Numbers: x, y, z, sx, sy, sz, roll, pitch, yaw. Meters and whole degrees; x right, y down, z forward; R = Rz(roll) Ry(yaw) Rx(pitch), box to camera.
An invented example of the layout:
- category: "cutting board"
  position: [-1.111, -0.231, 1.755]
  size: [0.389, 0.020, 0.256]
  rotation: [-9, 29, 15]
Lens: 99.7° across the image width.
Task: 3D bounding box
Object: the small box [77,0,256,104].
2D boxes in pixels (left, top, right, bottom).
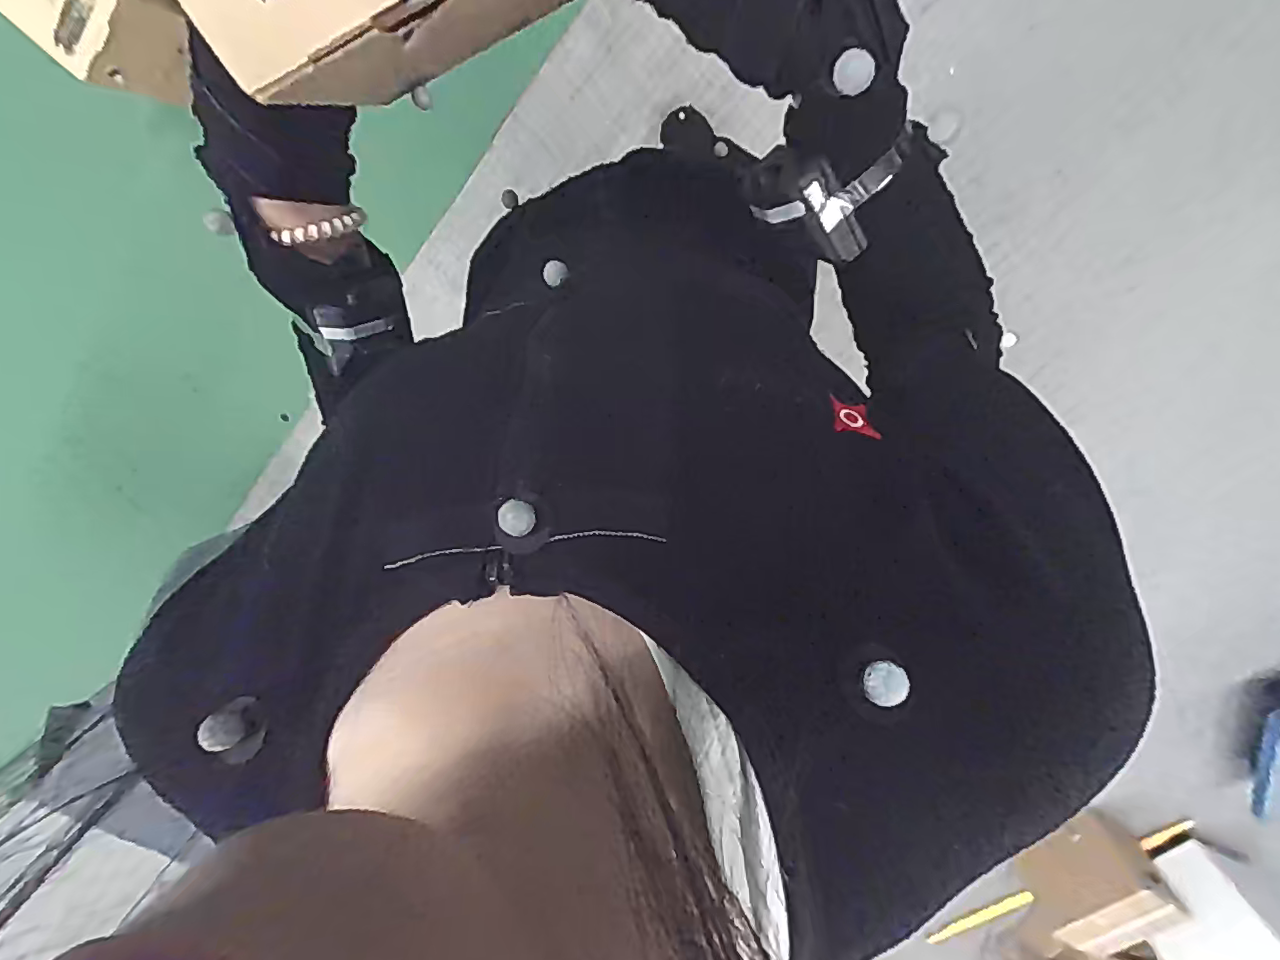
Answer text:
- category: "small box"
  position: [-0.917, -0.881, 1.066]
  size: [0.168, 0.176, 0.179]
  rotation: [-37, 111, 19]
